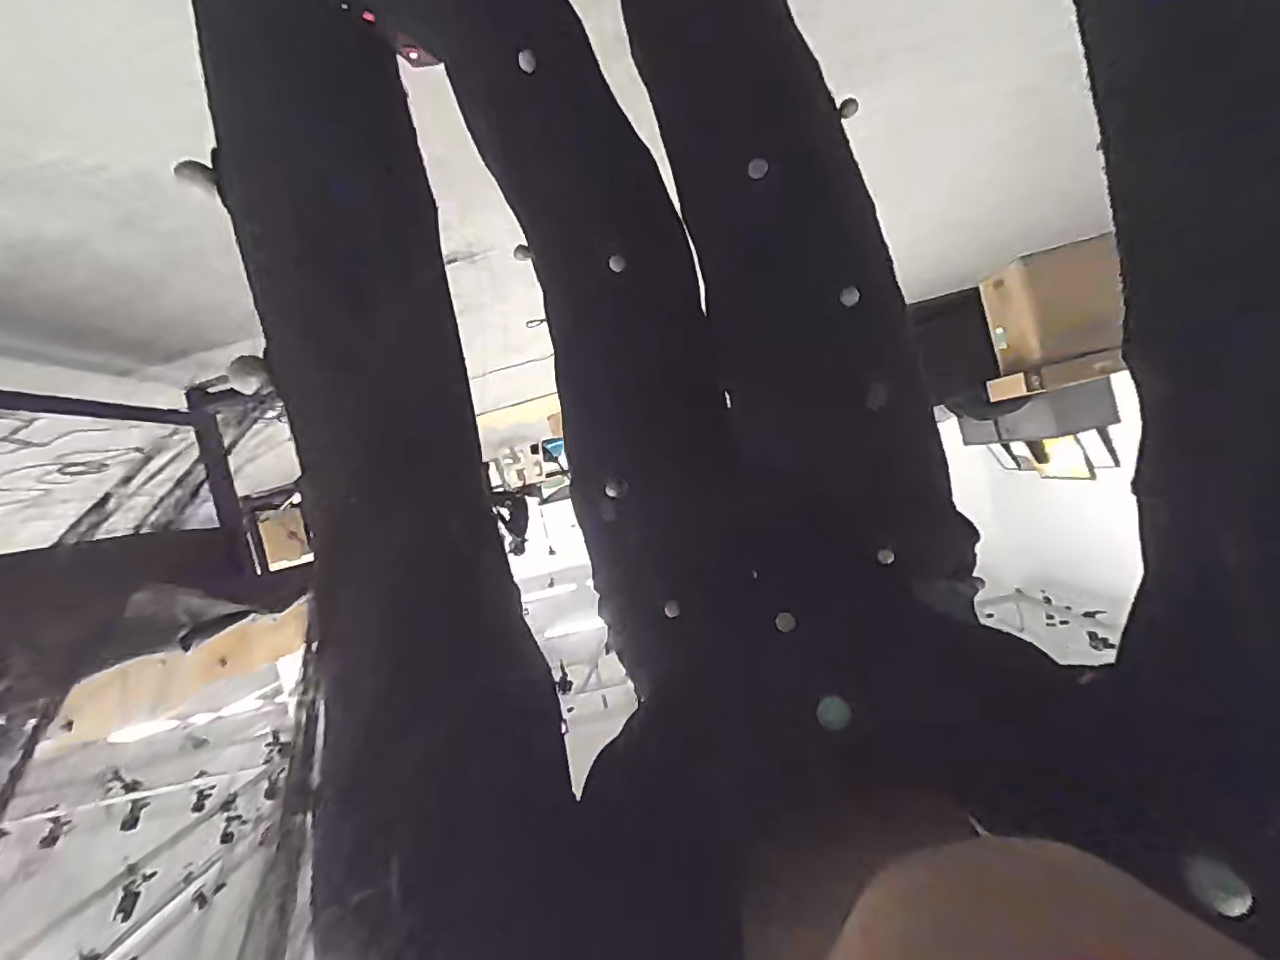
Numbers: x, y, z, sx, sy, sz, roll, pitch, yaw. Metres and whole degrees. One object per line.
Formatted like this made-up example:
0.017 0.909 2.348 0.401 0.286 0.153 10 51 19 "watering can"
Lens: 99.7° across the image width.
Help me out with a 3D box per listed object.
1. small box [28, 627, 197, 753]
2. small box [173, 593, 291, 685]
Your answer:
-1.054 0.409 1.084 0.179 0.176 0.168 -14 -179 1 "small box"
-1.043 0.399 1.382 0.179 0.176 0.168 -15 -179 2 "small box"
